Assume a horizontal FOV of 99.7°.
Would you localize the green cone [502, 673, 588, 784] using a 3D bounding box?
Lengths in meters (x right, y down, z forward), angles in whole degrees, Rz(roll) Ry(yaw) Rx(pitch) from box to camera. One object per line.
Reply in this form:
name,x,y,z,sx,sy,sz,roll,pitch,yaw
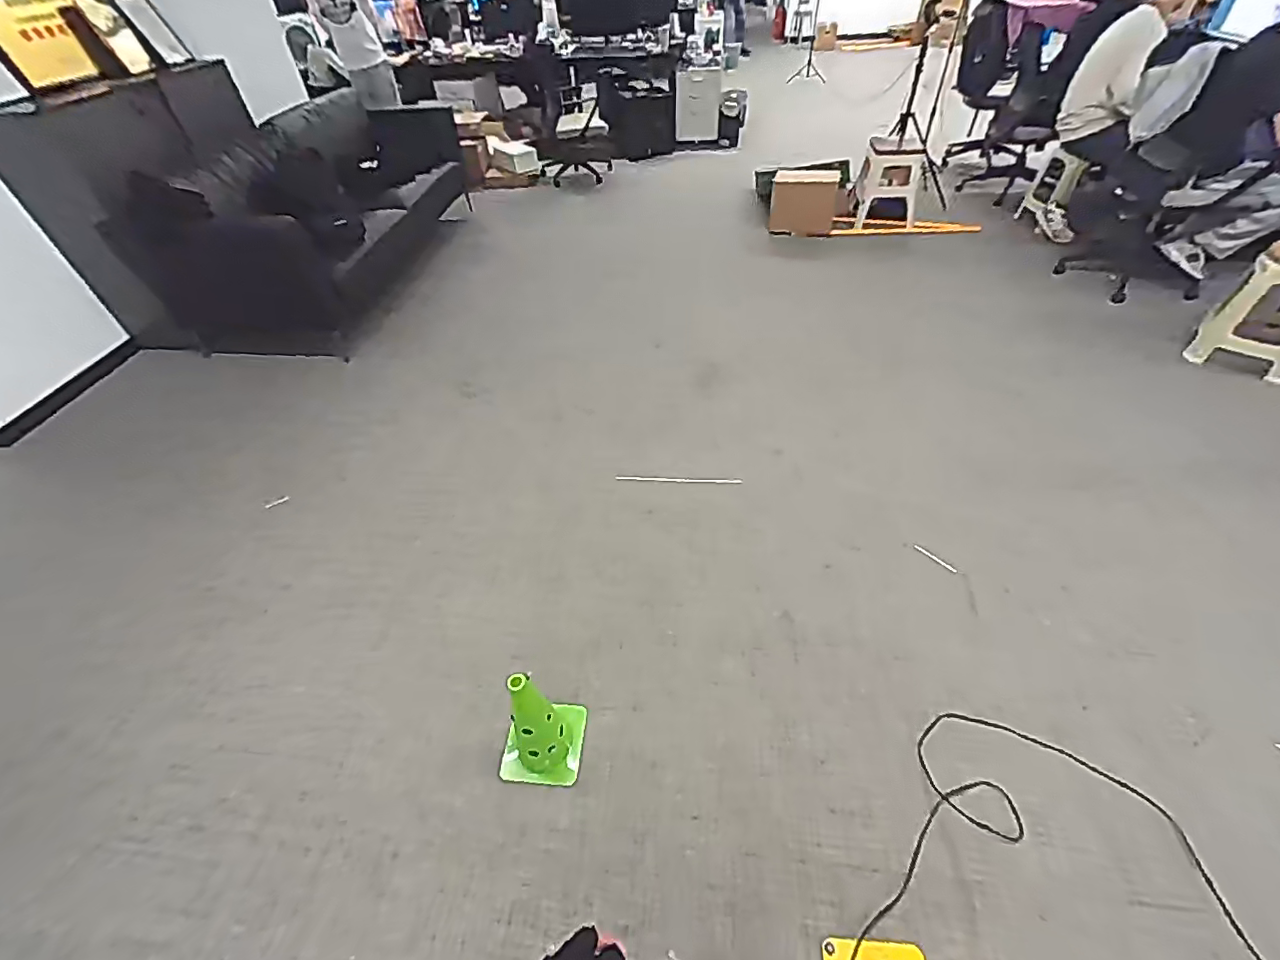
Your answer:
green cone,-0.252,0.565,1.298,0.202,0.368,0.200,2,46,5
